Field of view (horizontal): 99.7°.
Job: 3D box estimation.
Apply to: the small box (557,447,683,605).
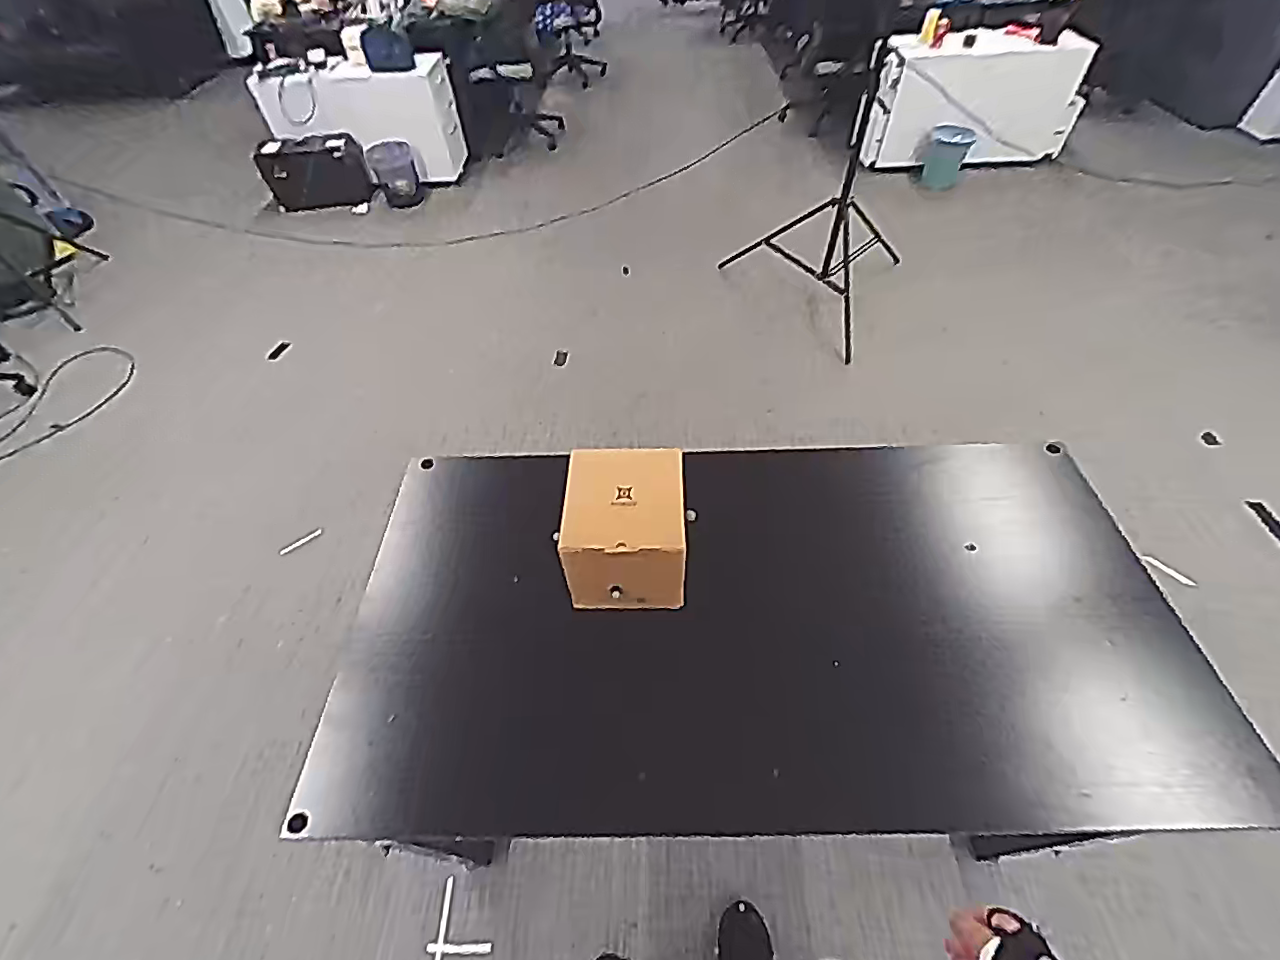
[{"bbox_3d":[-0.023,0.070,0.812,0.168,0.176,0.179,0,52,2],"label":"small box"}]
